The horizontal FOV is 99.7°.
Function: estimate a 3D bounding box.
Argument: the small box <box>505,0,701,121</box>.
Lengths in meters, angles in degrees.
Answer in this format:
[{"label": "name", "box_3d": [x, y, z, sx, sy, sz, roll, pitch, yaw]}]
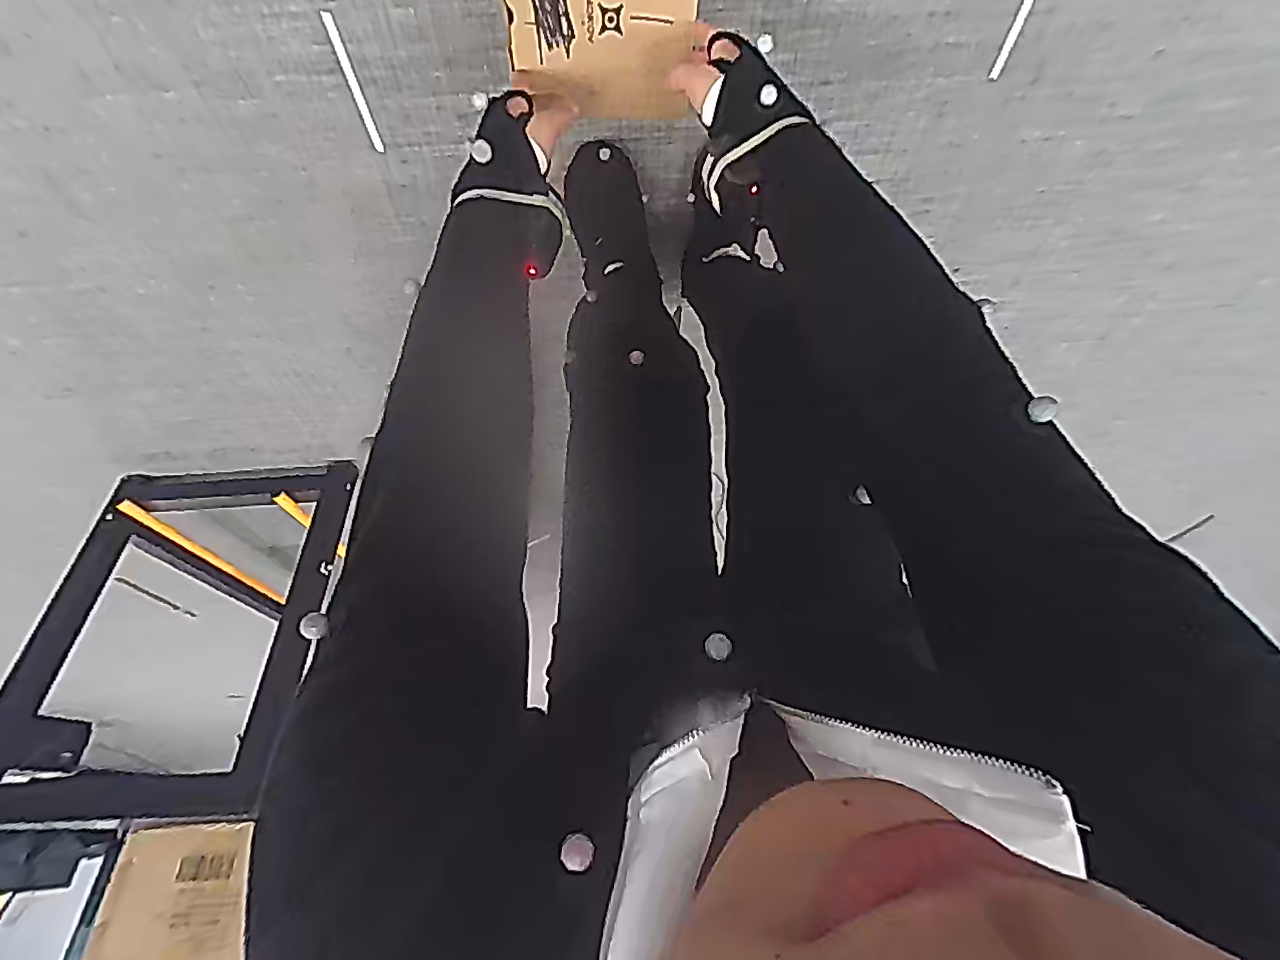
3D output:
[{"label": "small box", "box_3d": [-0.036, -0.483, 0.530, 0.179, 0.176, 0.168, -2, 148, -3]}]
